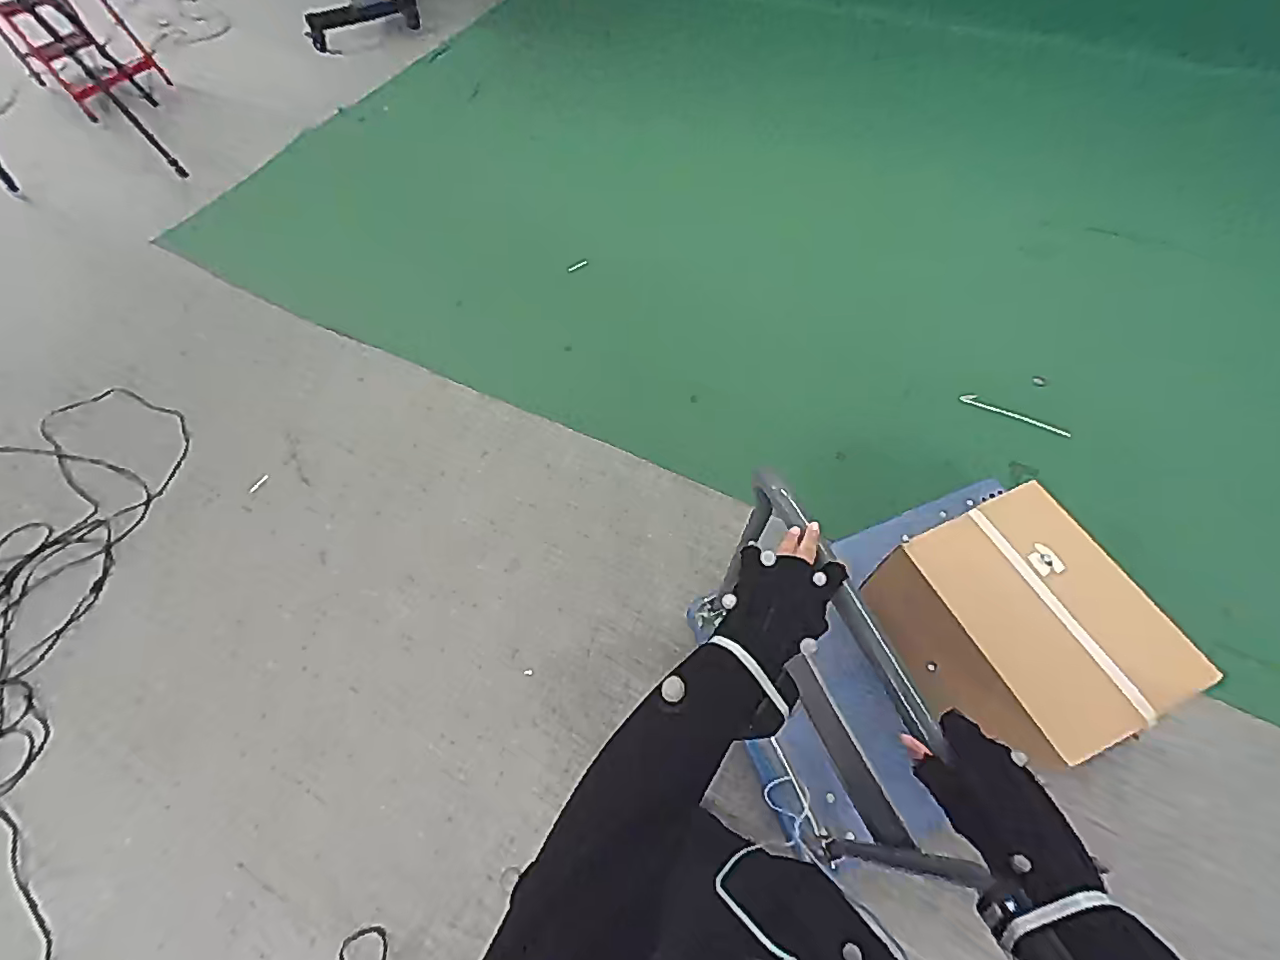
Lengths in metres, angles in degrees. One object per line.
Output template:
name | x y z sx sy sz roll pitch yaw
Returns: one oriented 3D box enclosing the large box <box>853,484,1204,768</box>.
large box | 0.702 0.291 1.067 0.320 0.320 0.408 -22 60 -10
